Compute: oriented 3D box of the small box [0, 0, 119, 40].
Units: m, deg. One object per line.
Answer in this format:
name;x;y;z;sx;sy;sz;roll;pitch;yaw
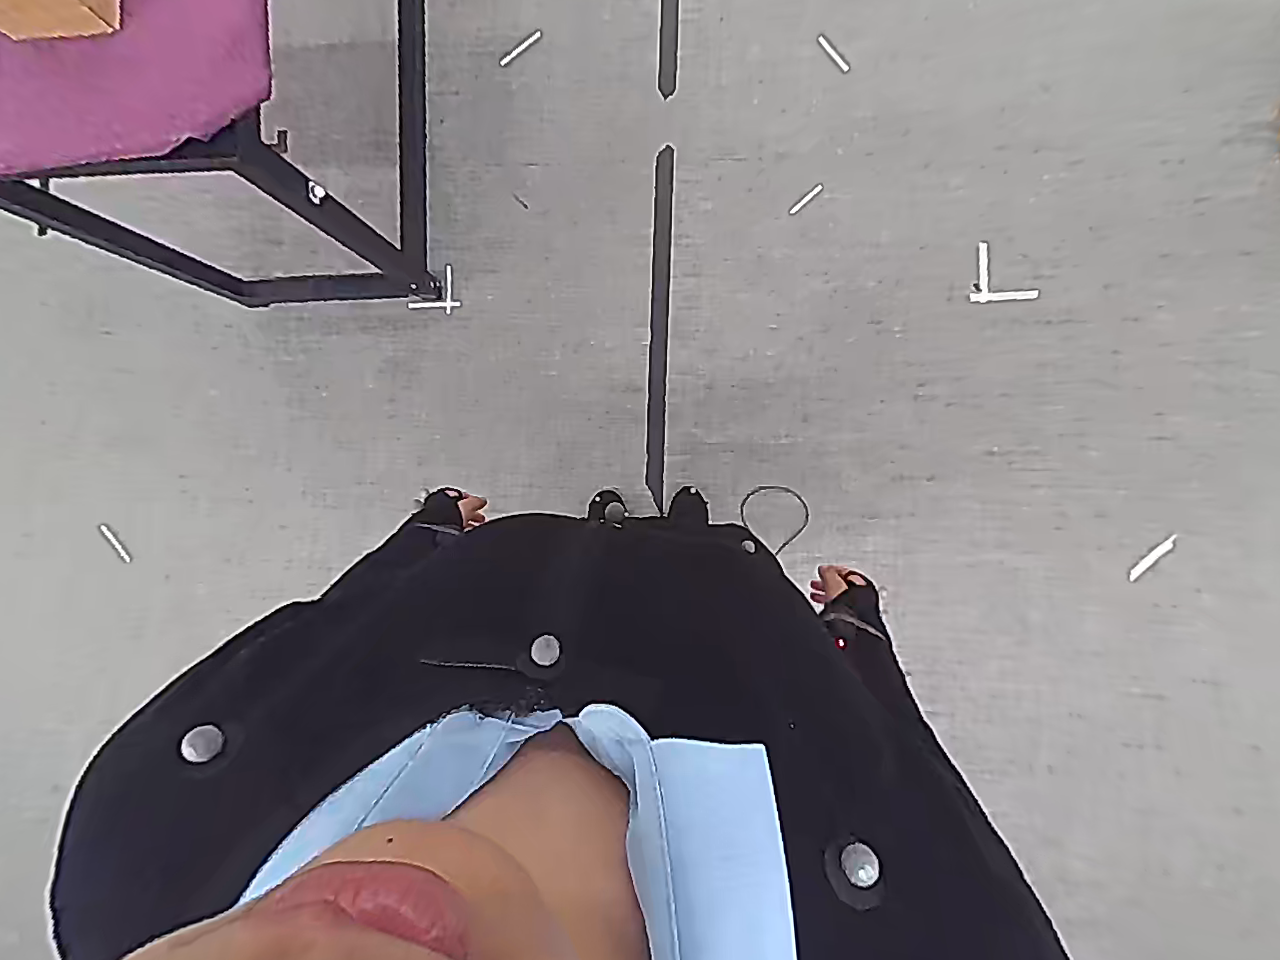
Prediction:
small box;-0.879;-0.751;0.743;0.179;0.176;0.168;-2;89;3
